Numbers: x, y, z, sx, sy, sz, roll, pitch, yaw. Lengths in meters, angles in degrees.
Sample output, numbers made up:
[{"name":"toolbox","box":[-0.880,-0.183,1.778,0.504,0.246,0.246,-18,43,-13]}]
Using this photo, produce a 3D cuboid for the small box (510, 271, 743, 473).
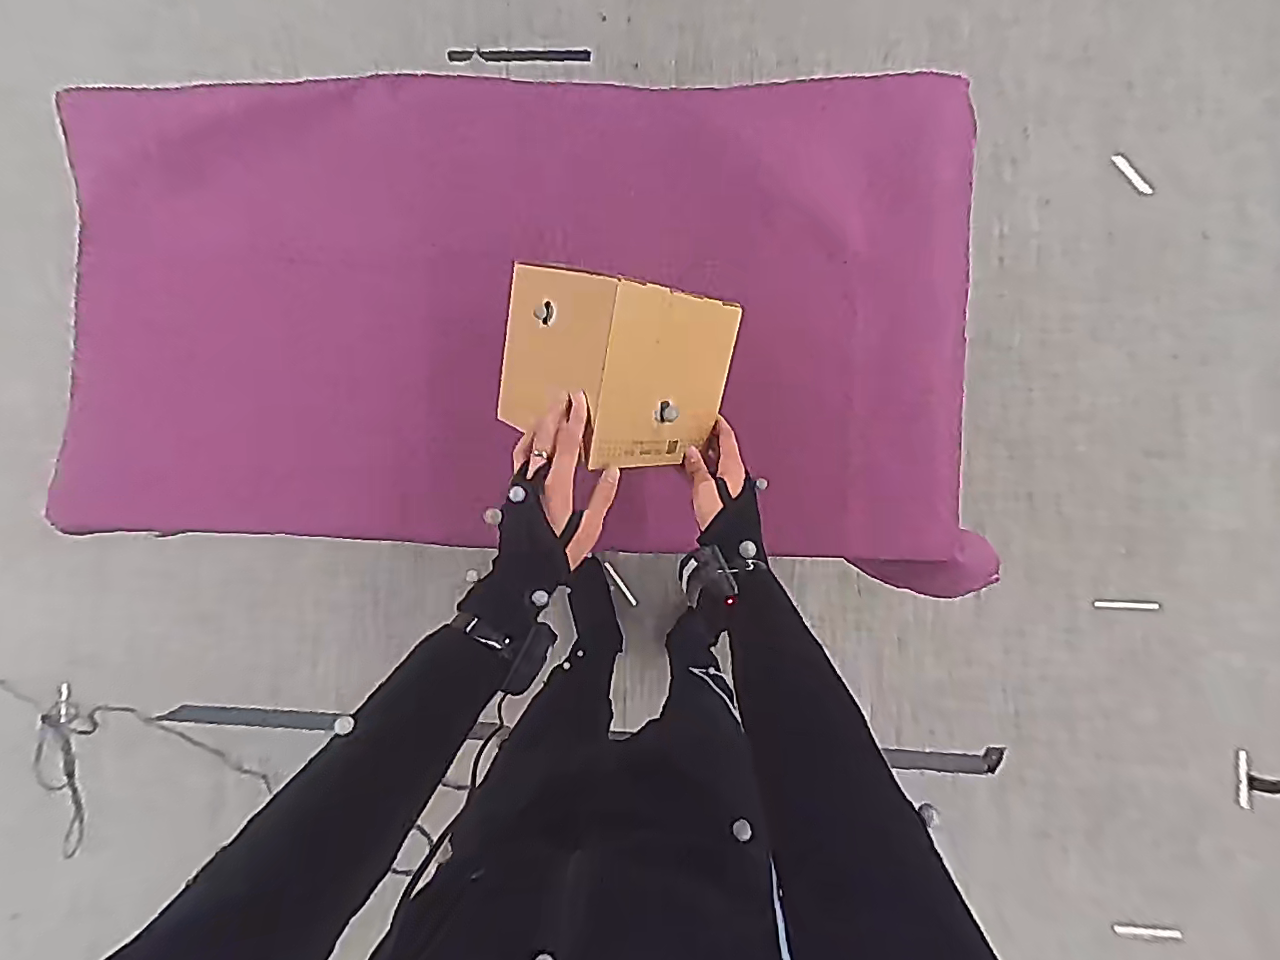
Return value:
[{"name":"small box","box":[-0.024,-0.113,0.578,0.179,0.168,0.176,28,114,43]}]
